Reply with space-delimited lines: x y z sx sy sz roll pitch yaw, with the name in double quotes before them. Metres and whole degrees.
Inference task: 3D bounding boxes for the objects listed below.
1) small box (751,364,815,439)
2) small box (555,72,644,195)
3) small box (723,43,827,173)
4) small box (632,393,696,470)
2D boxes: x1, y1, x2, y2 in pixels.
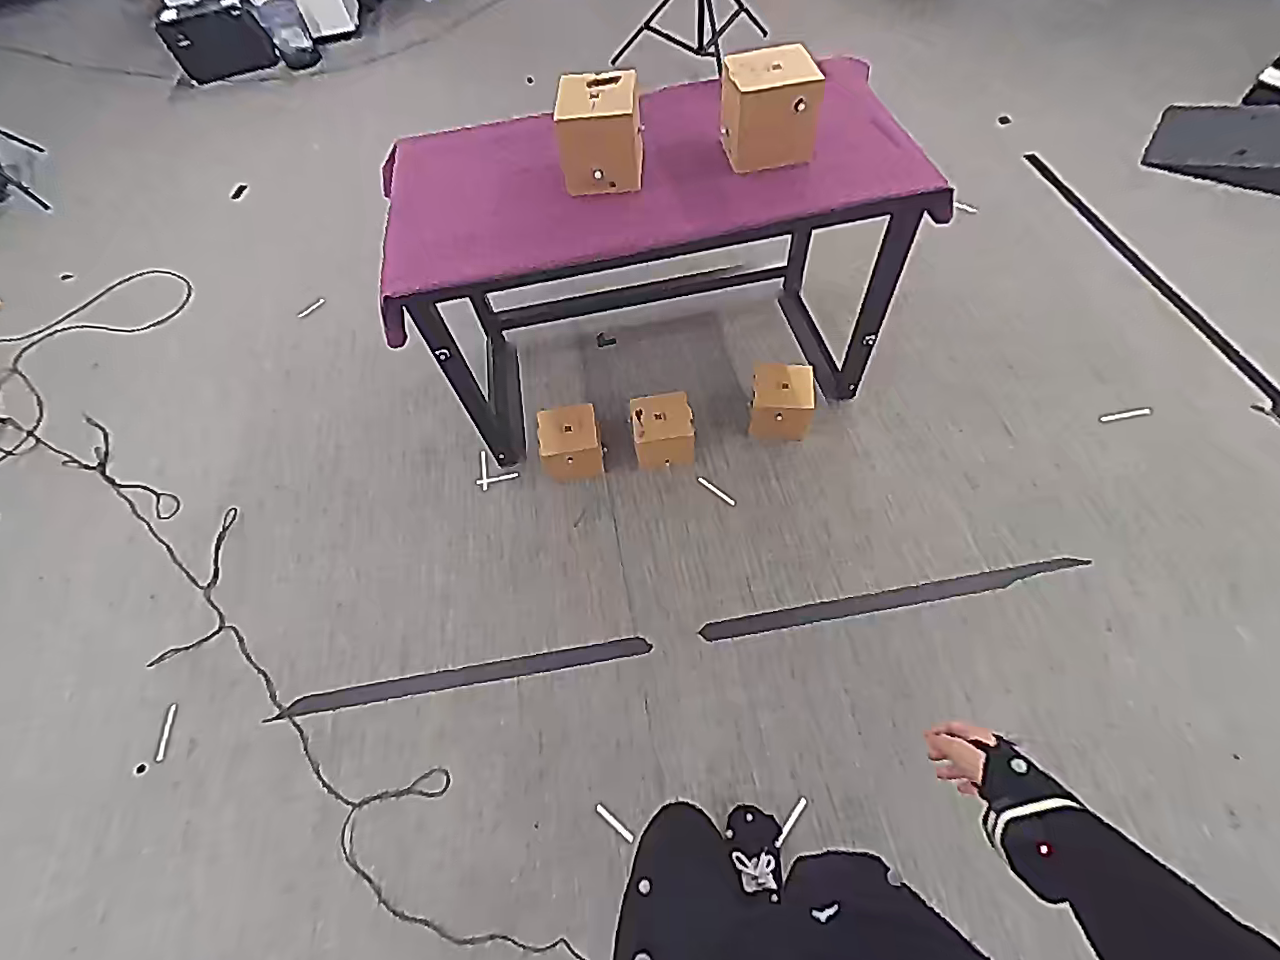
"small box" 0.442 -0.241 1.687 0.179 0.176 0.168 3 61 10
"small box" -0.081 -0.764 1.199 0.168 0.176 0.179 -1 61 6
"small box" 0.285 -0.809 1.184 0.179 0.176 0.168 -10 59 1
"small box" 0.074 -0.147 1.671 0.179 0.176 0.168 -7 60 2
